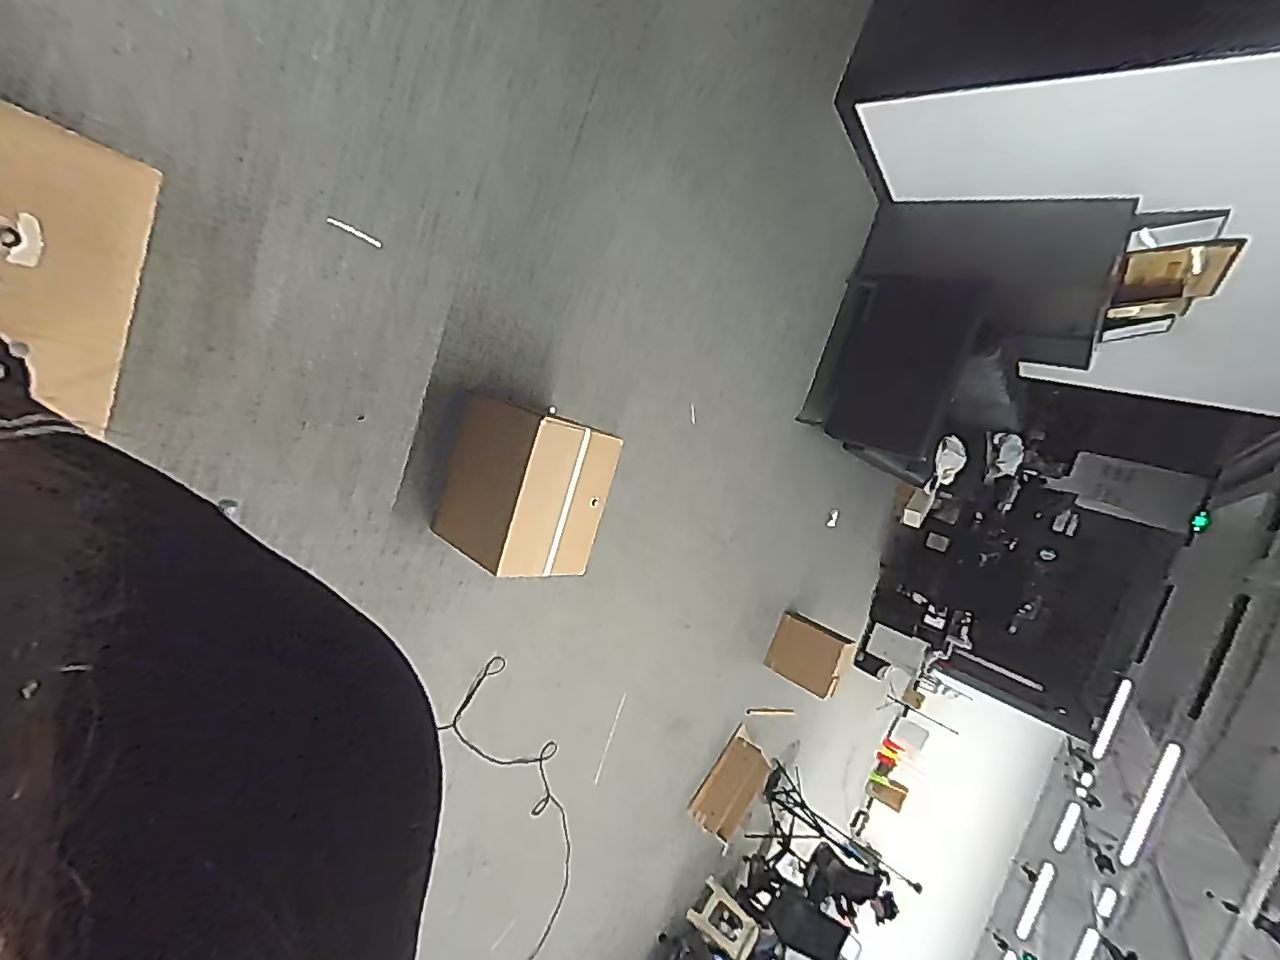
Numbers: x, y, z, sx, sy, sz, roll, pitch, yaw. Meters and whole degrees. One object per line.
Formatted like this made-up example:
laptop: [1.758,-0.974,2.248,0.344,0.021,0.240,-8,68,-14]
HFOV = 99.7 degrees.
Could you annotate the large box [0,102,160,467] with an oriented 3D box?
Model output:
large box: [-0.864,-0.259,0.679,0.320,0.320,0.408,10,98,-52]
